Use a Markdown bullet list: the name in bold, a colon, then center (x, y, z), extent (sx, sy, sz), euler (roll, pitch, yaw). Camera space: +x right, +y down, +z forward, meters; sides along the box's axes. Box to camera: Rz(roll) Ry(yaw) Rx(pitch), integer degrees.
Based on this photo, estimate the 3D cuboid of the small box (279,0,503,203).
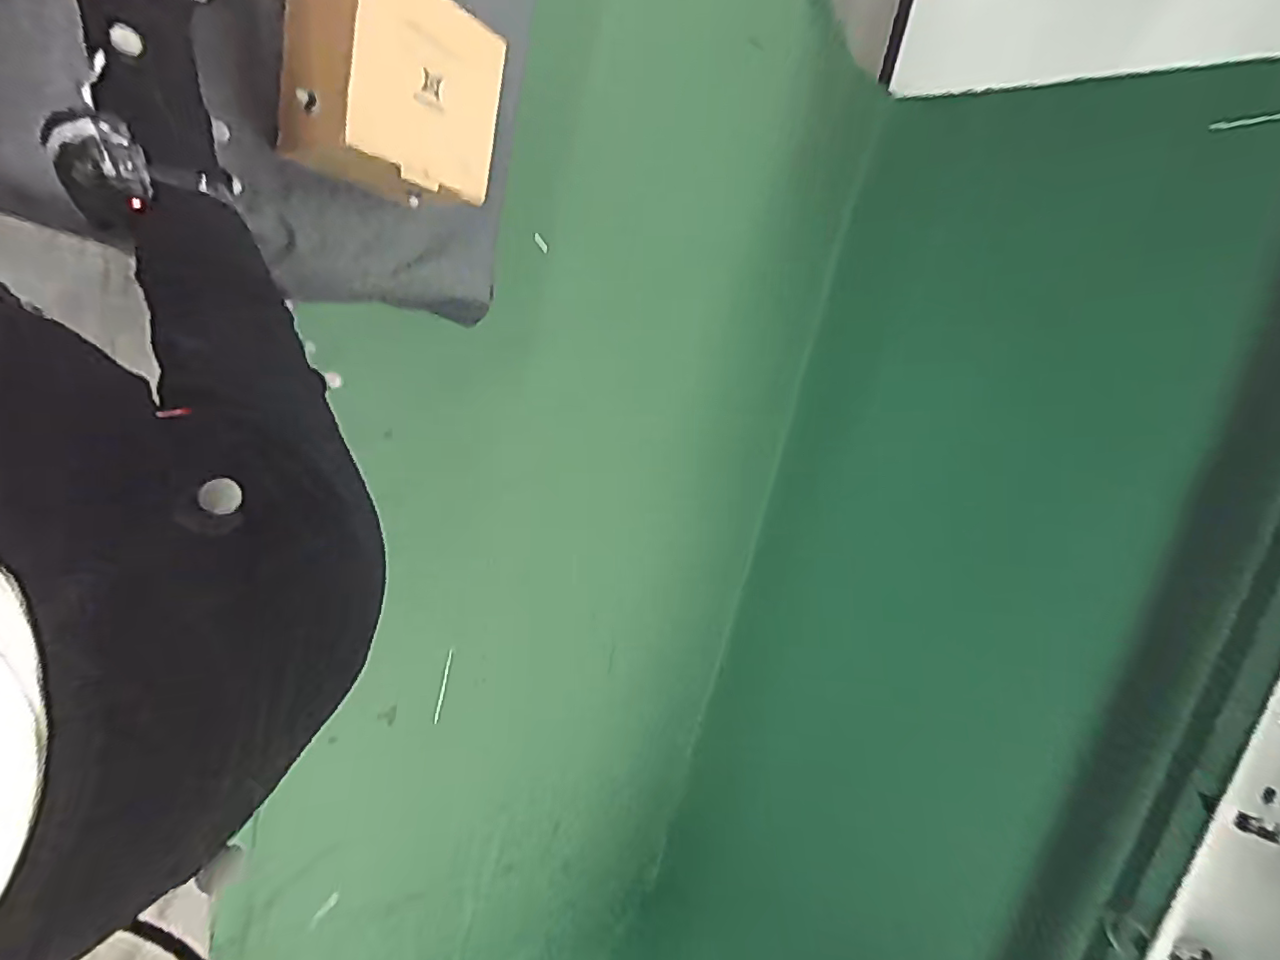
- **small box**: center (-0.282, -0.430, 0.609), extent (0.168, 0.176, 0.179), euler (-5, 109, -54)
